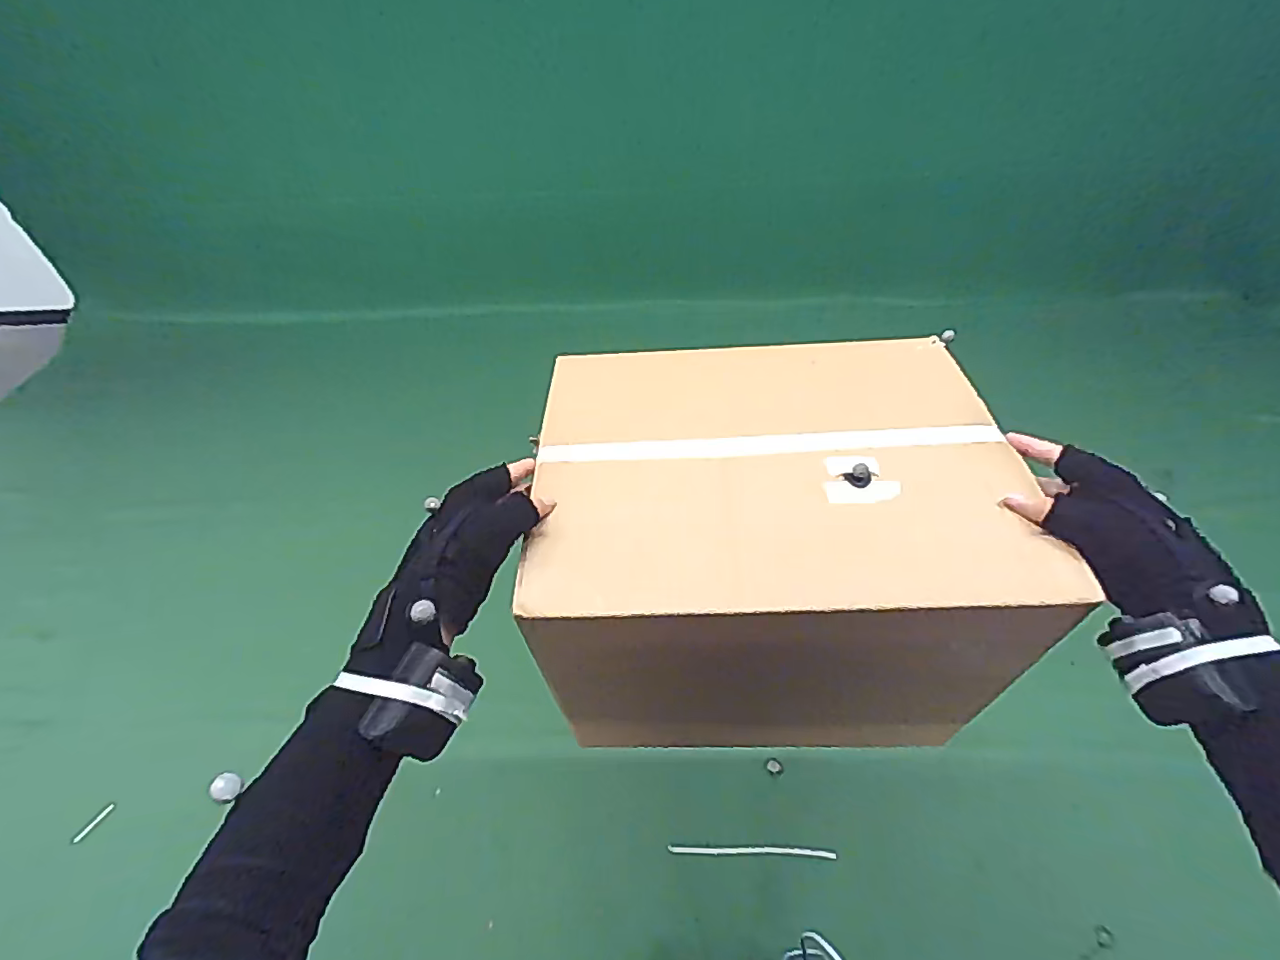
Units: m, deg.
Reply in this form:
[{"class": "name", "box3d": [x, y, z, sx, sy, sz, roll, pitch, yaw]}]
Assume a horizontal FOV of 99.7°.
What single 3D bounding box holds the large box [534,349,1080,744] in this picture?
[{"class": "large box", "box3d": [0.123, 0.079, 0.598, 0.408, 0.320, 0.320, -2, 48, 2]}]
